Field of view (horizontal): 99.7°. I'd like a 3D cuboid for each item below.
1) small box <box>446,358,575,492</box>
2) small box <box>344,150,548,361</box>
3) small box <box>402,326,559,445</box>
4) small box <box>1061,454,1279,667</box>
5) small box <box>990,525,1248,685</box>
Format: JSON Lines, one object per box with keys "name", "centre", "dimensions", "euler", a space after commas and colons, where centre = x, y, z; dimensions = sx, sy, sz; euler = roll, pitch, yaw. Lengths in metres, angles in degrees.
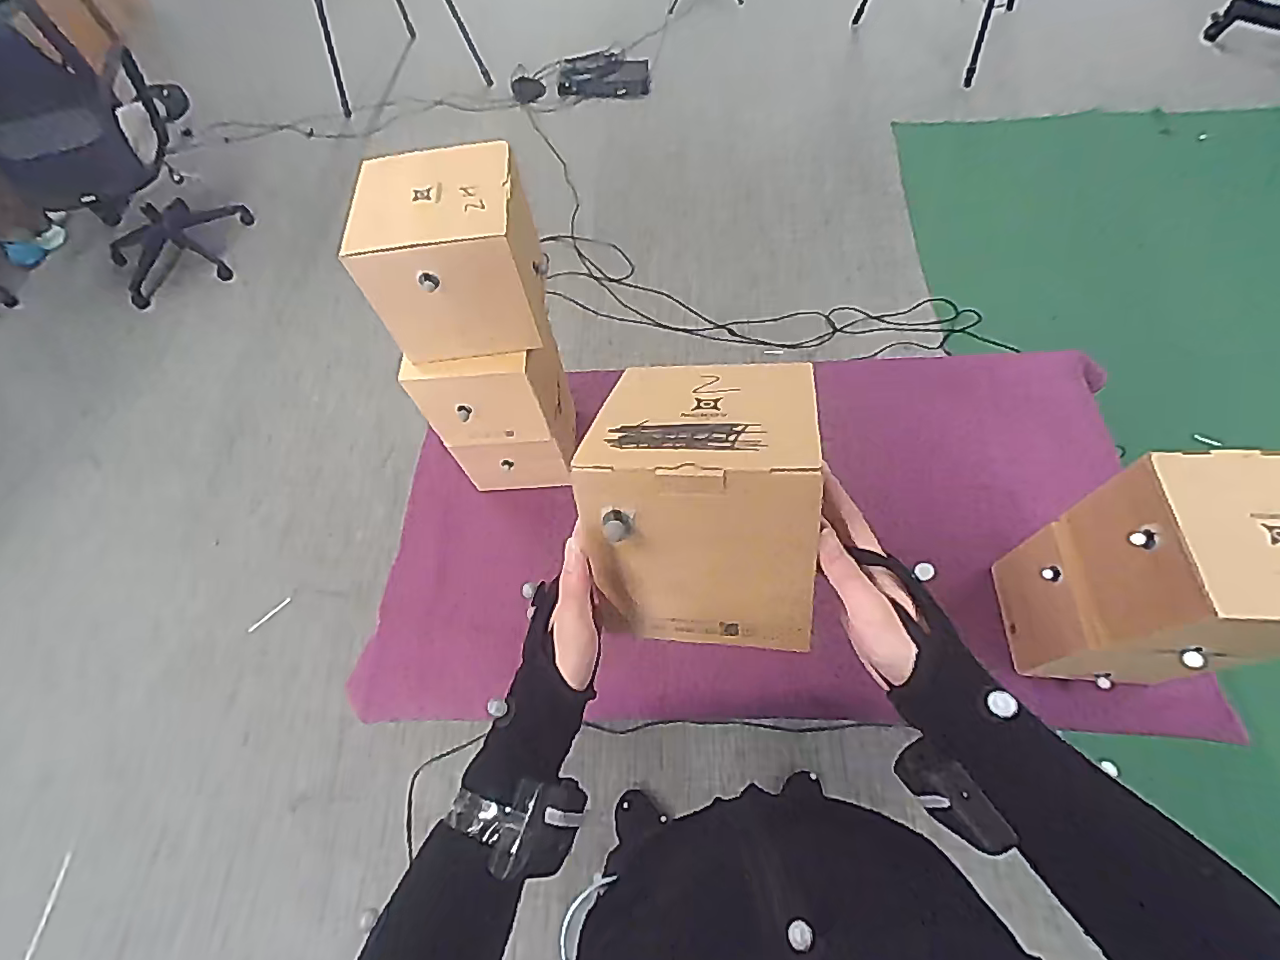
{"name": "small box", "centre": [-0.211, -0.090, 0.935], "dimensions": [0.179, 0.176, 0.168], "euler": [-4, 62, 3]}
{"name": "small box", "centre": [-0.218, -0.263, 0.658], "dimensions": [0.179, 0.176, 0.168], "euler": [-6, 62, 1]}
{"name": "small box", "centre": [-0.217, -0.162, 0.790], "dimensions": [0.168, 0.176, 0.179], "euler": [-3, 61, 3]}
{"name": "small box", "centre": [0.603, 0.090, 0.582], "dimensions": [0.168, 0.176, 0.179], "euler": [1, 61, 8]}
{"name": "small box", "centre": [0.613, 0.173, 0.723], "dimensions": [0.179, 0.176, 0.168], "euler": [2, 61, 6]}
